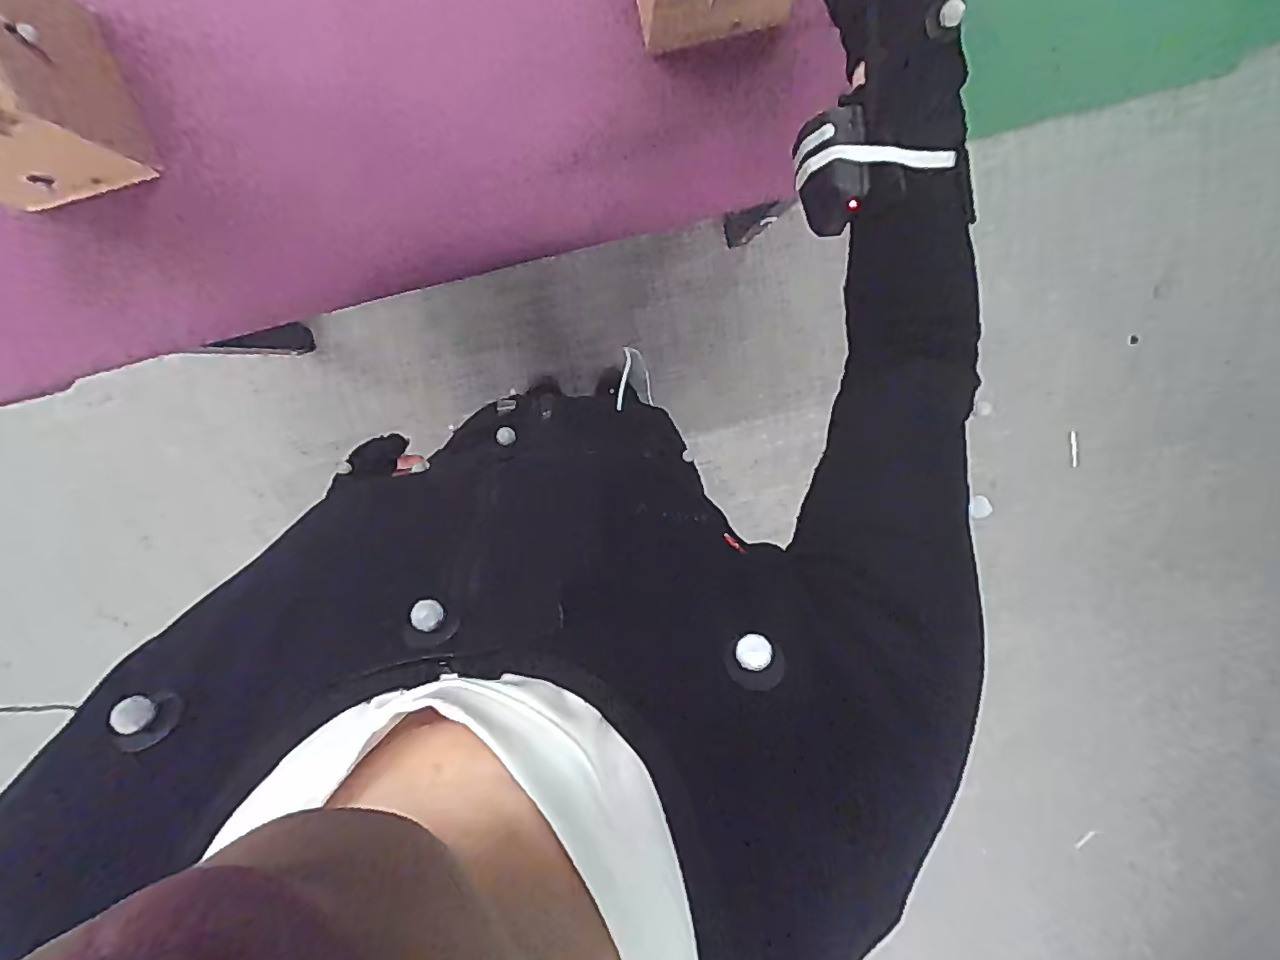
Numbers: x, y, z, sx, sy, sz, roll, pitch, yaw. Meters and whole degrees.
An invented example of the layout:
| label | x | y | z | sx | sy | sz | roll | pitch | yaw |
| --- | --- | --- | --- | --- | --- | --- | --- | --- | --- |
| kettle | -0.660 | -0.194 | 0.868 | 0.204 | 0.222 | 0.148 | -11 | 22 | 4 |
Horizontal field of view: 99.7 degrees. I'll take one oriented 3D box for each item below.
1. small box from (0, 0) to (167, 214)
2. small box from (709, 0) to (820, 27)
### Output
| label | x | y | z | sx | sy | sz | roll | pitch | yaw |
| --- | --- | --- | --- | --- | --- | --- | --- | --- | --- |
| small box | -0.653 | -0.399 | 0.548 | 0.168 | 0.176 | 0.179 | -16 | 104 | -1 |
| small box | 0.125 | -0.481 | 0.383 | 0.168 | 0.176 | 0.179 | -17 | 107 | 2 |
